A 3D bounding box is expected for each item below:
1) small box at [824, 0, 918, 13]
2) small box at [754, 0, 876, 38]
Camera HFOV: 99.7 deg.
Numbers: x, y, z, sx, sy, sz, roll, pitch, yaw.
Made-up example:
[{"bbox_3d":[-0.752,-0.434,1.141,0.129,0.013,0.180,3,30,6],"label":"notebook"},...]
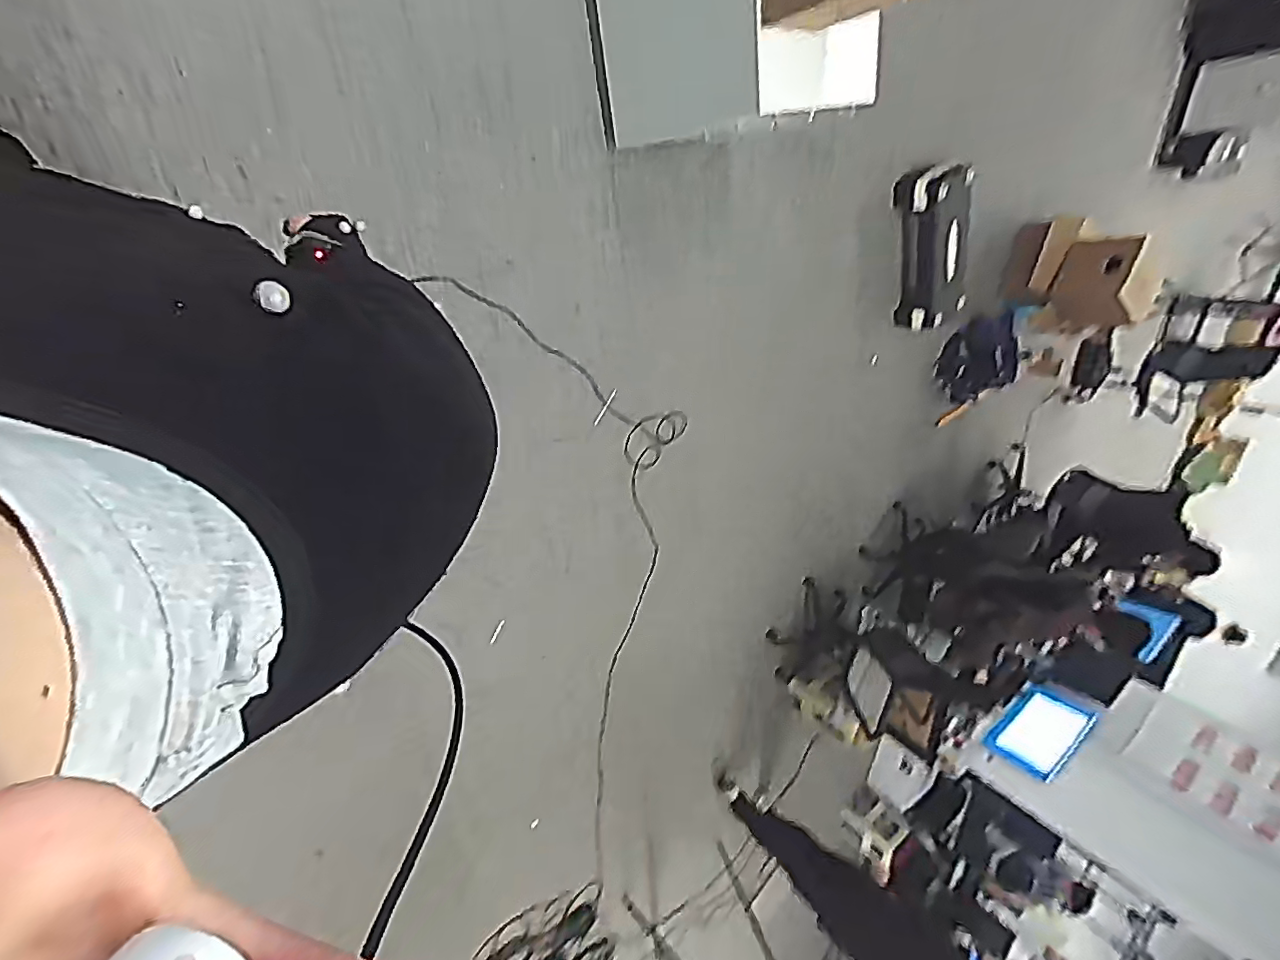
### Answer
[{"bbox_3d":[0.429,-0.909,0.898,0.179,0.176,0.168,-23,122,-28],"label":"small box"},{"bbox_3d":[0.330,-0.961,1.019,0.179,0.176,0.168,-25,123,-30],"label":"small box"}]
